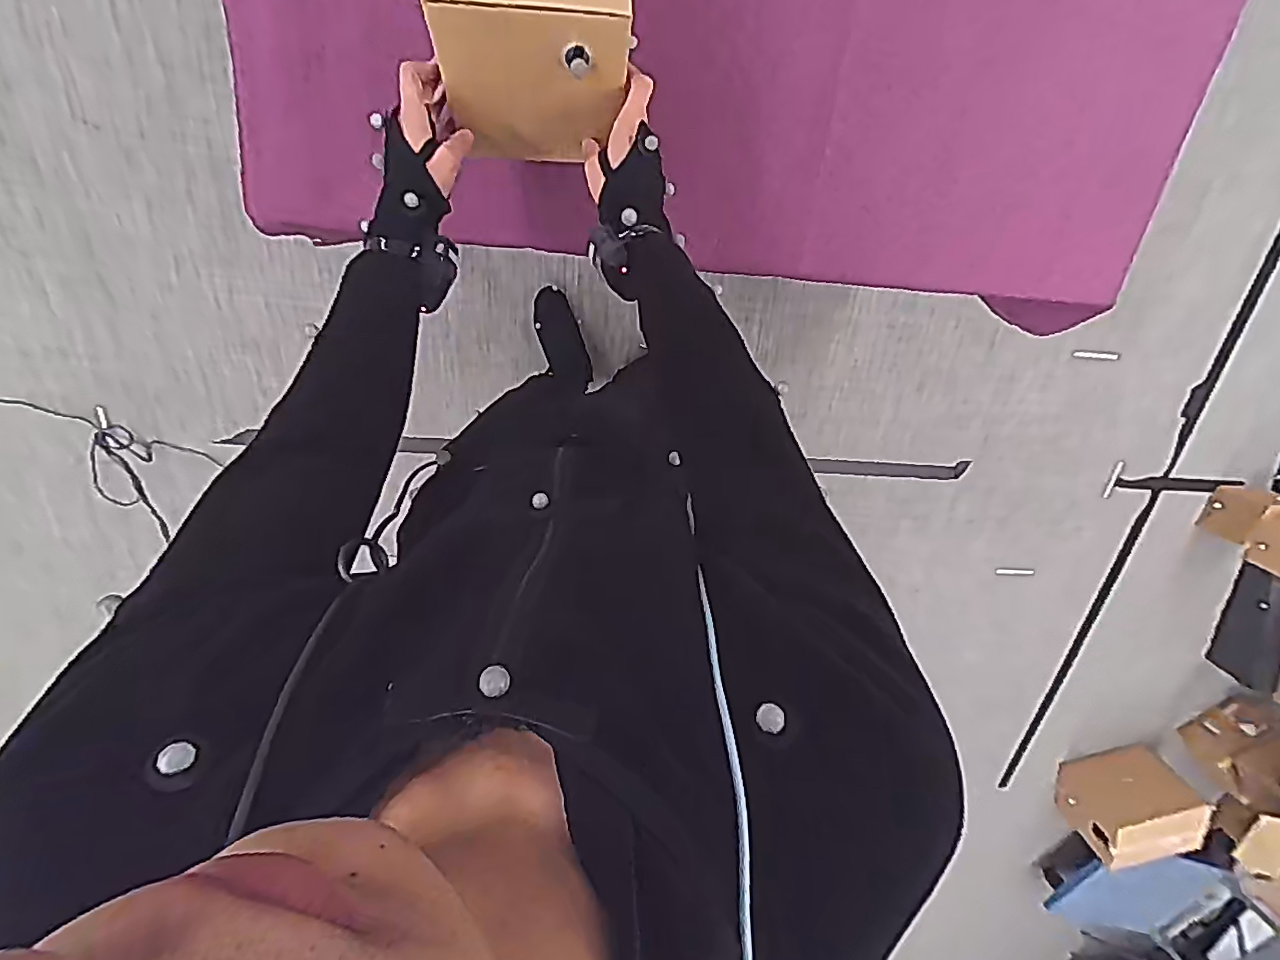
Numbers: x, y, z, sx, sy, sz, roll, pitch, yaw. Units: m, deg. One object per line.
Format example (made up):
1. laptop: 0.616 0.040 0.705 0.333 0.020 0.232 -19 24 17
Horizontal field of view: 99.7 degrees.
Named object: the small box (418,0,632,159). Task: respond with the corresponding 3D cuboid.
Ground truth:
1. small box: -0.104 -0.451 0.535 0.179 0.176 0.168 -1 79 -6
